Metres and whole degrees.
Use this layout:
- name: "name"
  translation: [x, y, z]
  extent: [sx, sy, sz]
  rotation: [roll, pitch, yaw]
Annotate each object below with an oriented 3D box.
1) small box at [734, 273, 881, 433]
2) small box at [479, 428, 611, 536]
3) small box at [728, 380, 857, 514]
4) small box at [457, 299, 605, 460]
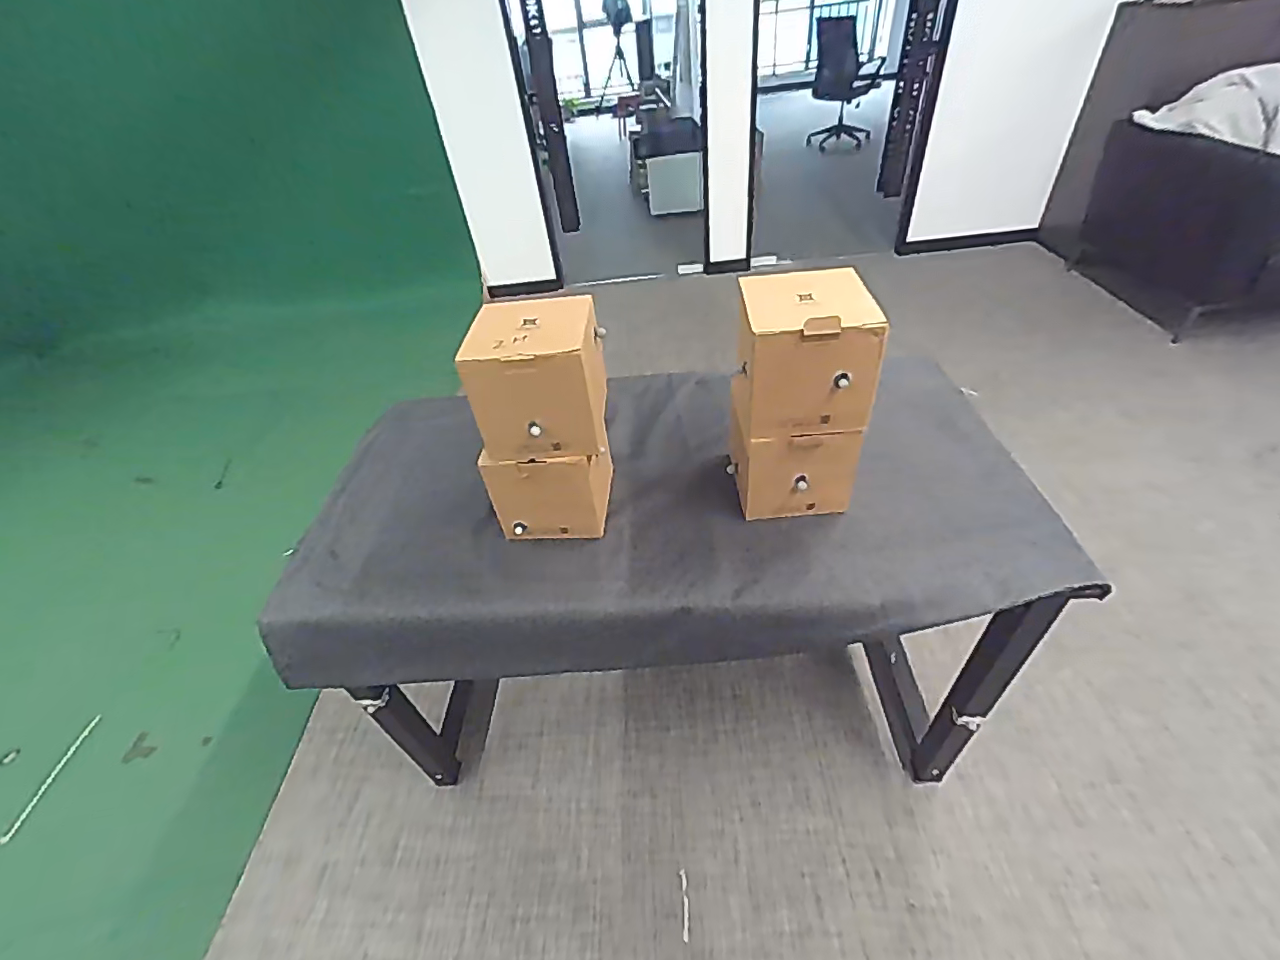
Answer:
- name: "small box"
  translation: [0.227, -0.178, 0.781]
  extent: [0.168, 0.176, 0.179]
  rotation: [-3, 41, 4]
- name: "small box"
  translation: [-0.146, -0.020, 0.905]
  extent: [0.168, 0.176, 0.179]
  rotation: [-2, 41, 6]
- name: "small box"
  translation: [0.239, -0.056, 0.889]
  extent: [0.168, 0.176, 0.179]
  rotation: [-5, 42, 3]
- name: "small box"
  translation: [-0.146, -0.149, 0.802]
  extent: [0.168, 0.176, 0.179]
  rotation: [-4, 41, 5]
